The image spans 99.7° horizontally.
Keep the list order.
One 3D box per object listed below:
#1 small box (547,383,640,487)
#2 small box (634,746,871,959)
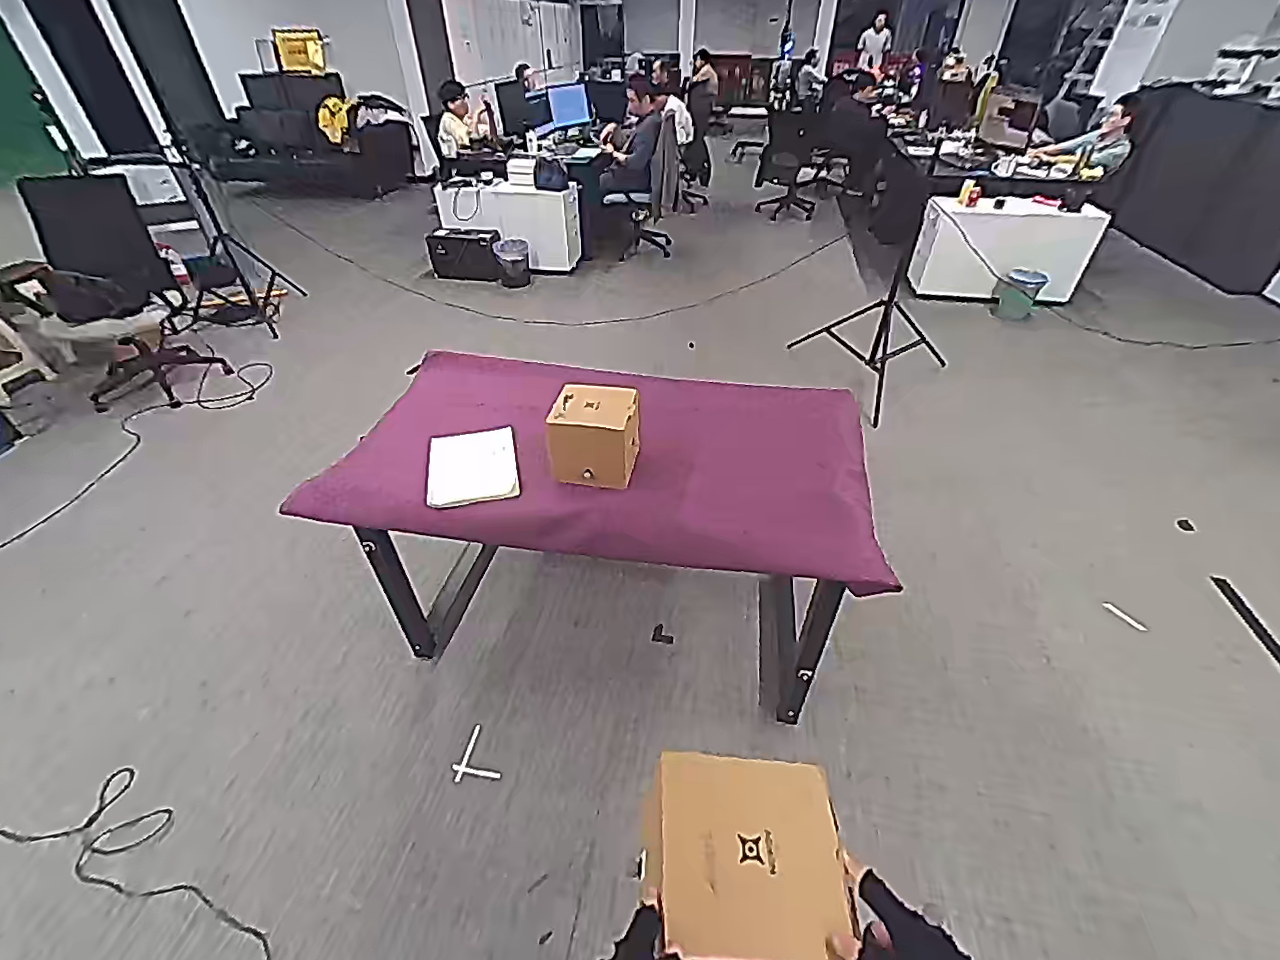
[{"bbox_3d":[-0.101,-0.103,1.246,0.179,0.176,0.168,7,40,8],"label":"small box"},{"bbox_3d":[0.094,0.394,0.543,0.179,0.176,0.168,6,37,-4],"label":"small box"}]
